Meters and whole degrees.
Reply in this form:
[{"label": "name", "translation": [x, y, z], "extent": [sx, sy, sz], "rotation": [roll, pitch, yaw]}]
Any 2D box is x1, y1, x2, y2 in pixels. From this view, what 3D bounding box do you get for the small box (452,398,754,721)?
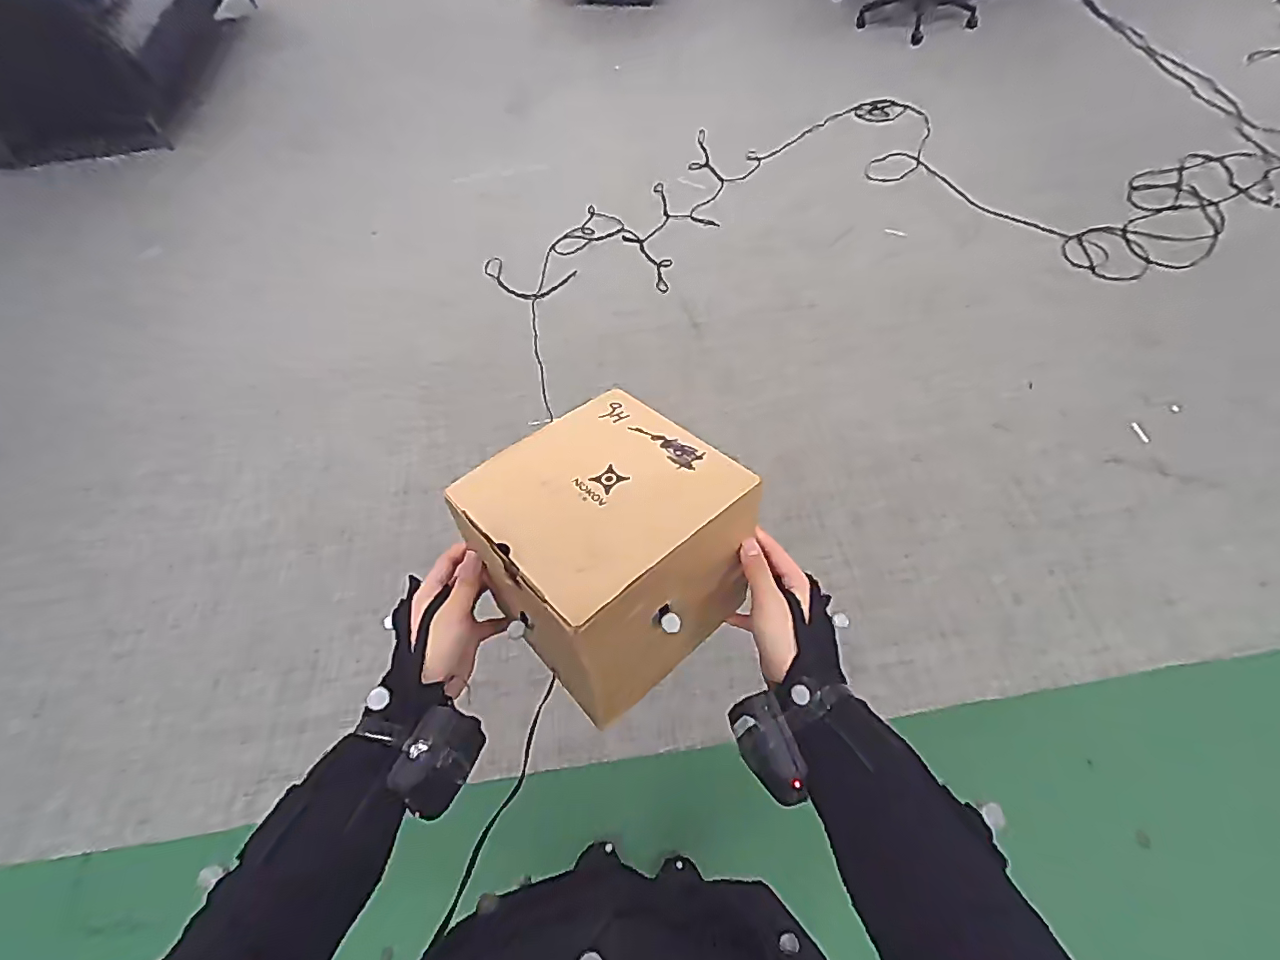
[{"label": "small box", "translation": [-0.023, 0.067, 0.463], "extent": [0.179, 0.176, 0.168], "rotation": [-35, 53, -25]}]
